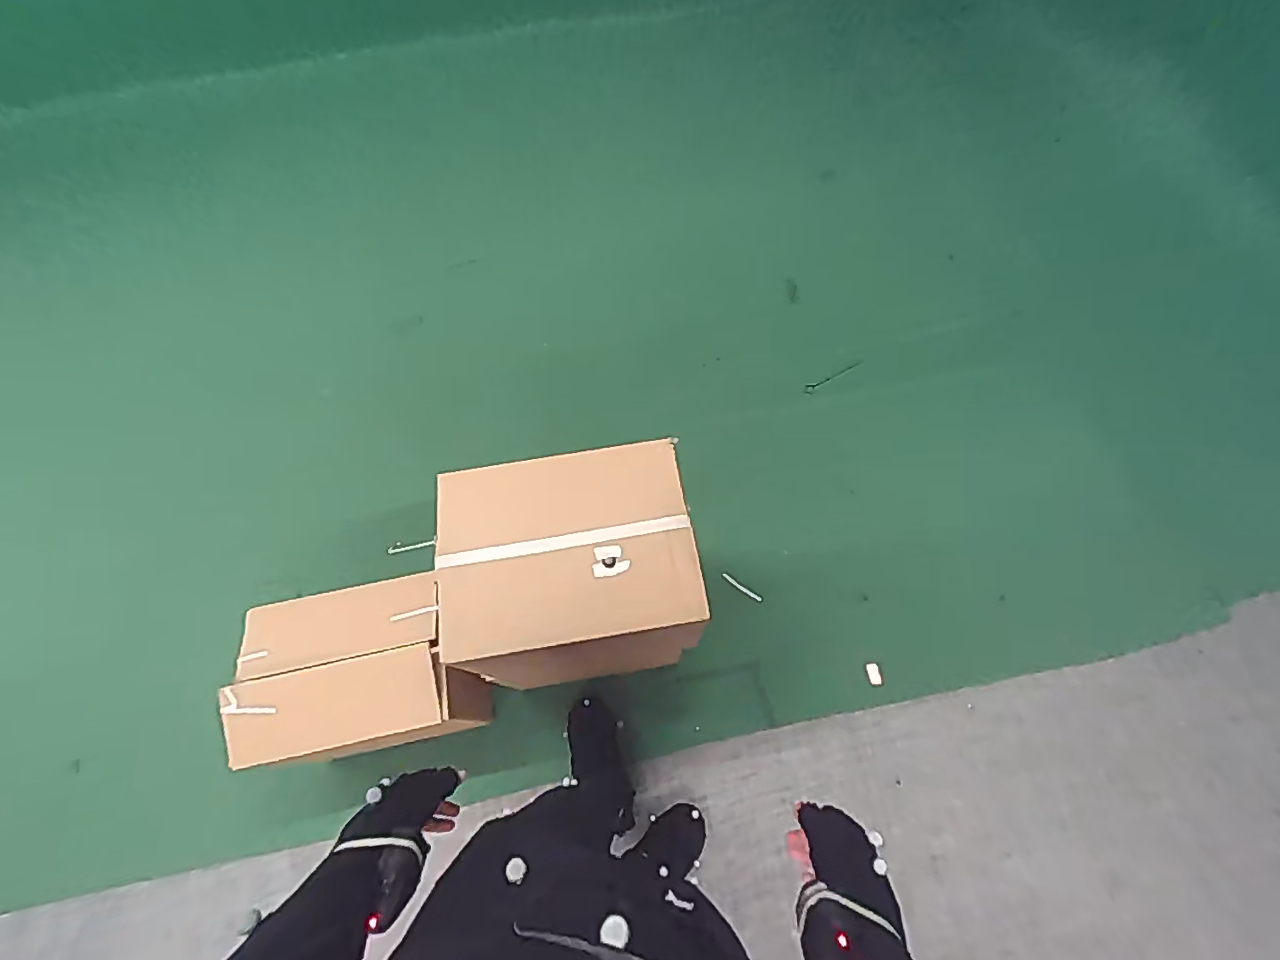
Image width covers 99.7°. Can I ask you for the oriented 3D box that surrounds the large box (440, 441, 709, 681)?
[{"bbox_3d":[-0.115,0.162,0.991,0.408,0.320,0.320,-9,66,-3],"label":"large box"}]
